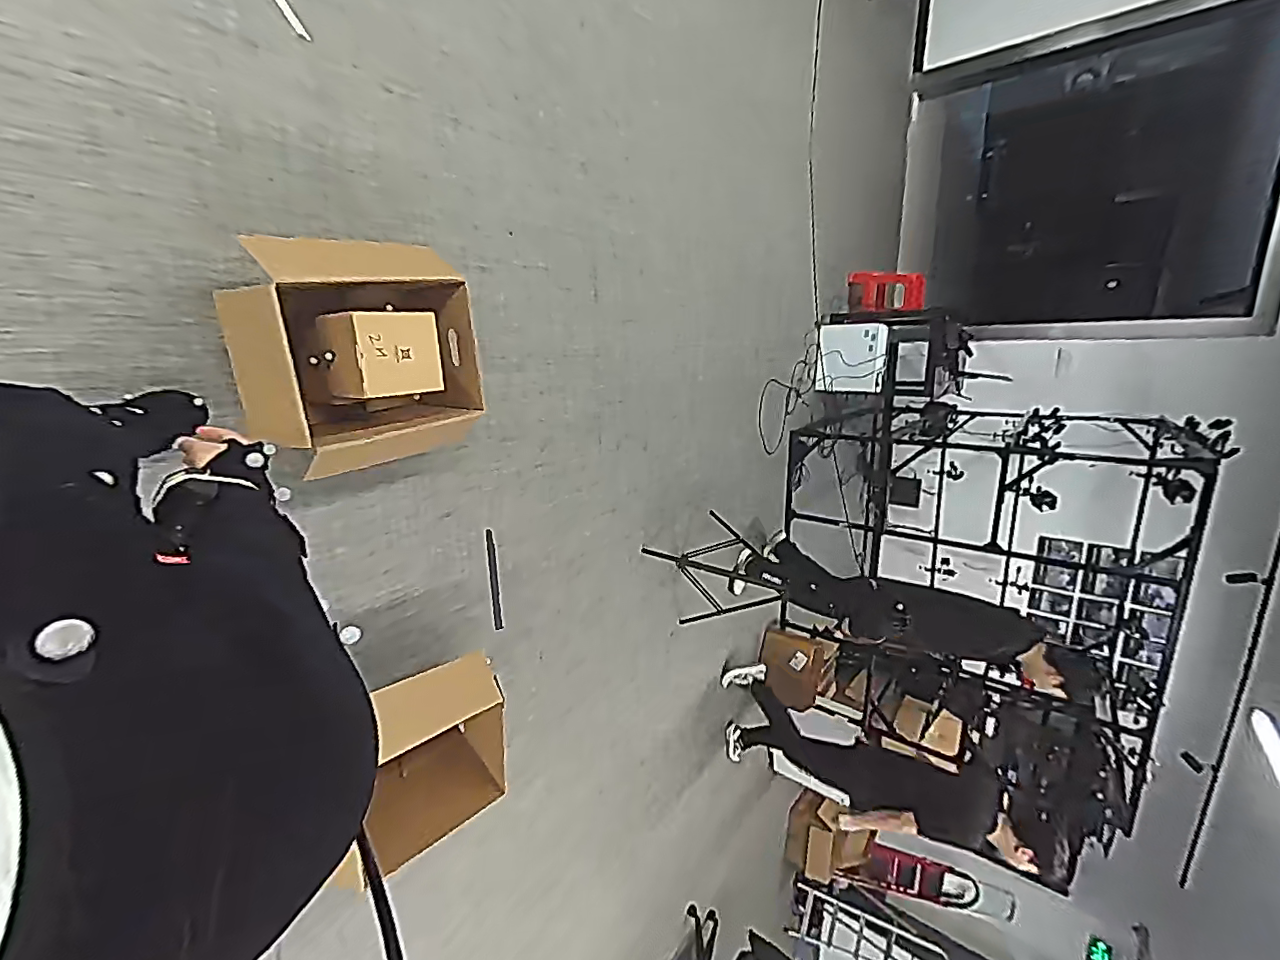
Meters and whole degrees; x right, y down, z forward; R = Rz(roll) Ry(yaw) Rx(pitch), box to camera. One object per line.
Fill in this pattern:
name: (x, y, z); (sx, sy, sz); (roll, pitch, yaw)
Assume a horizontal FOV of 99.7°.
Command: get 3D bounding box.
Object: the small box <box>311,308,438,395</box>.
small box: (-0.559, -0.274, 1.146); (0.179, 0.176, 0.168); (-19, 112, -49)
